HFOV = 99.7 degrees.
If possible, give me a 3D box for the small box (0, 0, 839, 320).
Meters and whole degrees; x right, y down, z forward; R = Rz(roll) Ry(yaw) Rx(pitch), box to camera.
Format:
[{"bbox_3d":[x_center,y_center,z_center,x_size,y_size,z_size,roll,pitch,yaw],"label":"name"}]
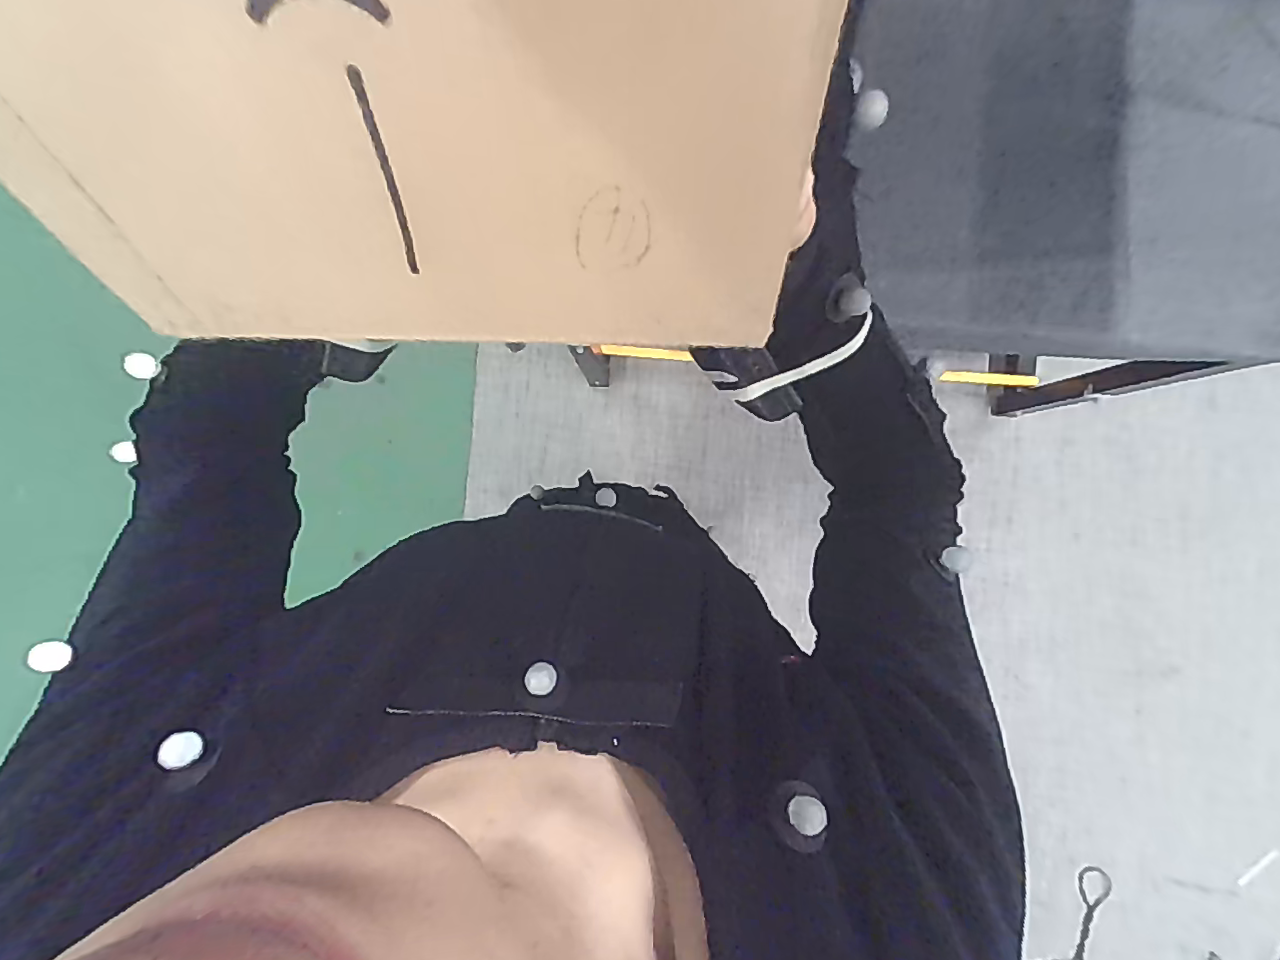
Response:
[{"bbox_3d":[-0.046,-0.159,0.117,0.168,0.179,0.176,2,56,2],"label":"small box"}]
